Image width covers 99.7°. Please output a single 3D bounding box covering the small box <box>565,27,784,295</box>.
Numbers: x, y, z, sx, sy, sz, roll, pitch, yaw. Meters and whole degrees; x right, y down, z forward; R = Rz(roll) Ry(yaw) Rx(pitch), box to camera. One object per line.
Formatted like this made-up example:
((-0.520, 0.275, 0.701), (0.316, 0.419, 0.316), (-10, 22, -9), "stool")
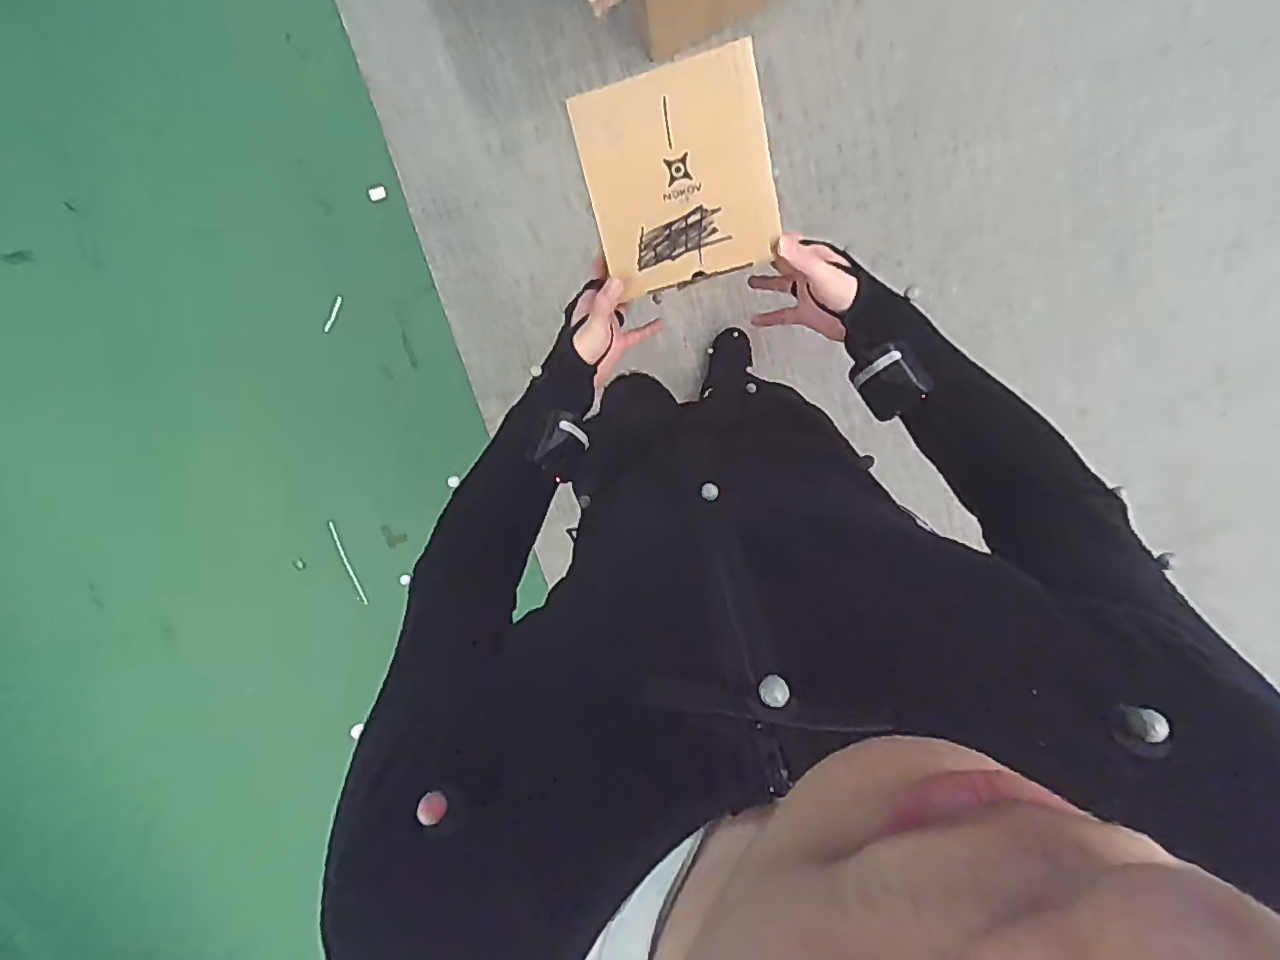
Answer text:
((0.040, -0.298, 0.547), (0.168, 0.176, 0.179), (-12, 108, 8), "small box")
